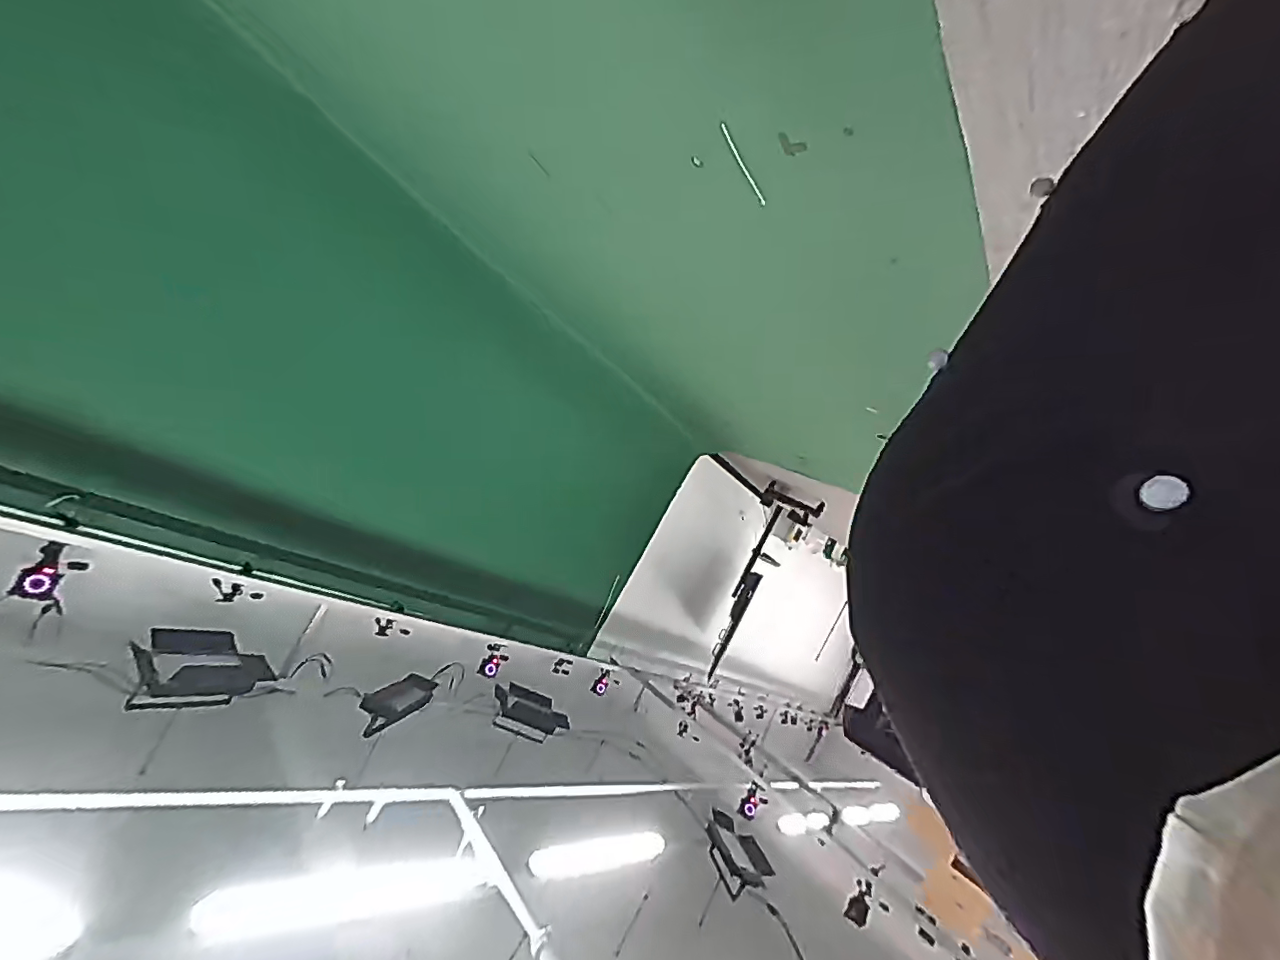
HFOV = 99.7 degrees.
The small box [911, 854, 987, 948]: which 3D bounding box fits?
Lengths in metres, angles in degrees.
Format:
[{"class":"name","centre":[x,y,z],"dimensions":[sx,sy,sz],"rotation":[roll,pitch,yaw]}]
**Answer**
[{"class":"small box","centre":[1.020,1.366,1.770],"dimensions":[0.168,0.176,0.179],"rotation":[24,174,43]}]

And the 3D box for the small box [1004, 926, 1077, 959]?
[{"class":"small box","centre":[1.190,1.445,1.593],"dimensions":[0.168,0.176,0.179],"rotation":[24,173,43]}]
